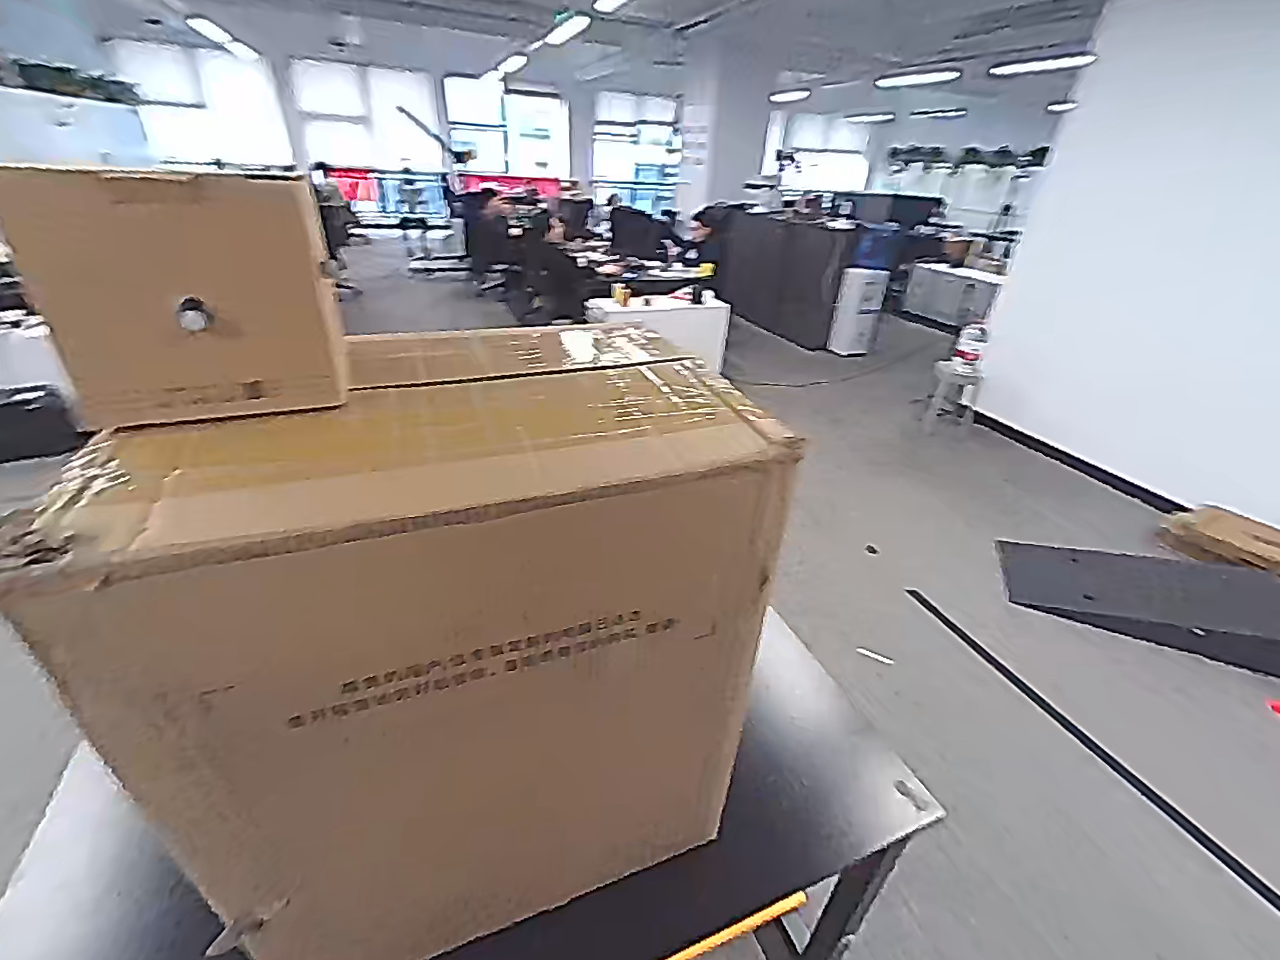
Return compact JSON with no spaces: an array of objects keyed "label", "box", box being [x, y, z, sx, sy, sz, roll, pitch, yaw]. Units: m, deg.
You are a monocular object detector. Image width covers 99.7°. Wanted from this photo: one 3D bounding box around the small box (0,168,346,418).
[{"label":"small box","box":[-0.351,-0.156,0.448,0.168,0.176,0.179,-11,32,-24]}]
